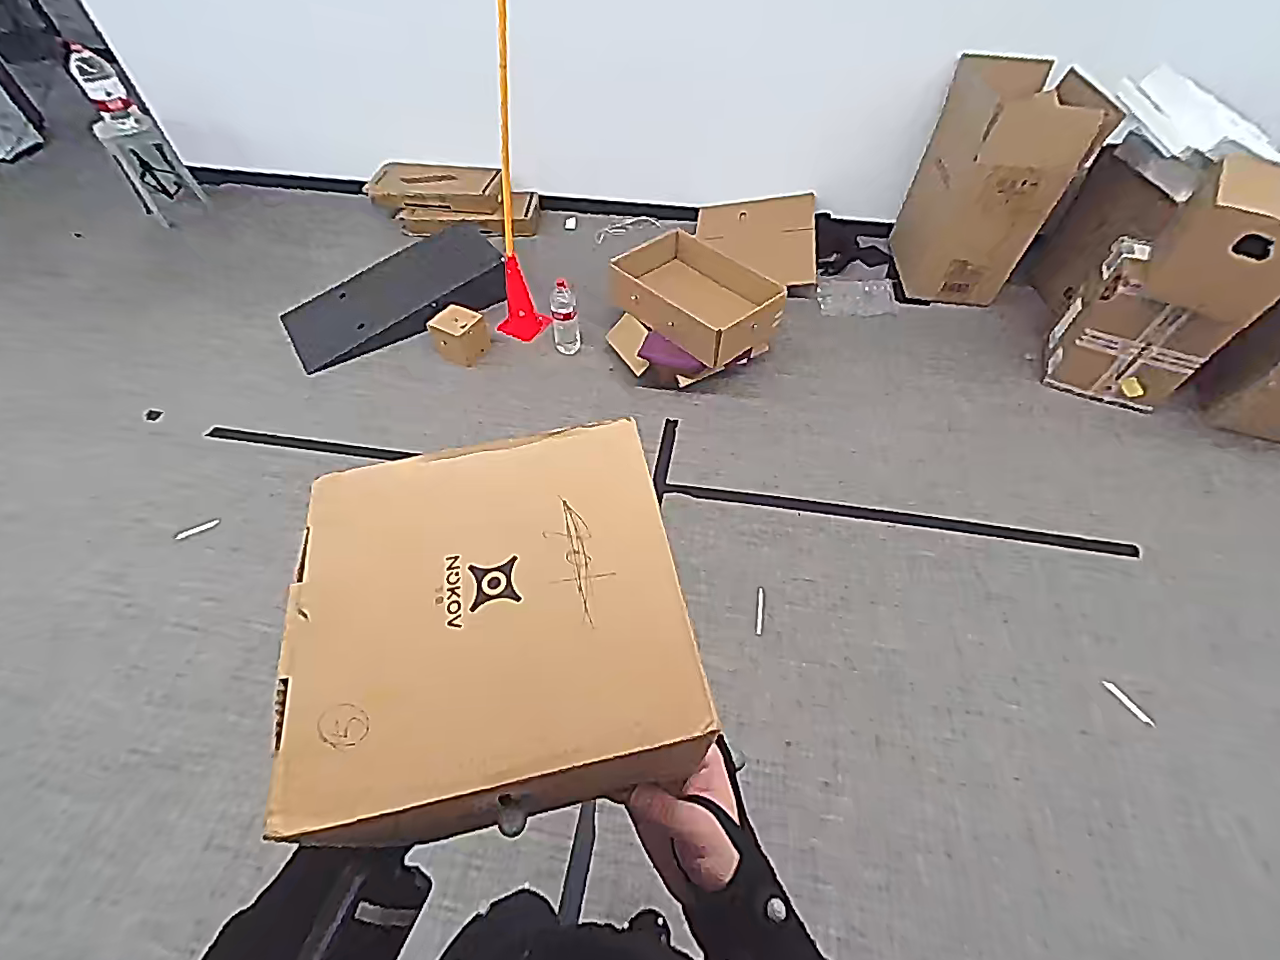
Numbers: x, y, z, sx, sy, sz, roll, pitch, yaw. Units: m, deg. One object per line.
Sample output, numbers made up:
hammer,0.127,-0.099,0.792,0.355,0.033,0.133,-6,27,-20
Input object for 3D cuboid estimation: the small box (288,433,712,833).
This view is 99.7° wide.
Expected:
small box,-0.067,0.099,0.326,0.179,0.176,0.168,-11,57,-6
